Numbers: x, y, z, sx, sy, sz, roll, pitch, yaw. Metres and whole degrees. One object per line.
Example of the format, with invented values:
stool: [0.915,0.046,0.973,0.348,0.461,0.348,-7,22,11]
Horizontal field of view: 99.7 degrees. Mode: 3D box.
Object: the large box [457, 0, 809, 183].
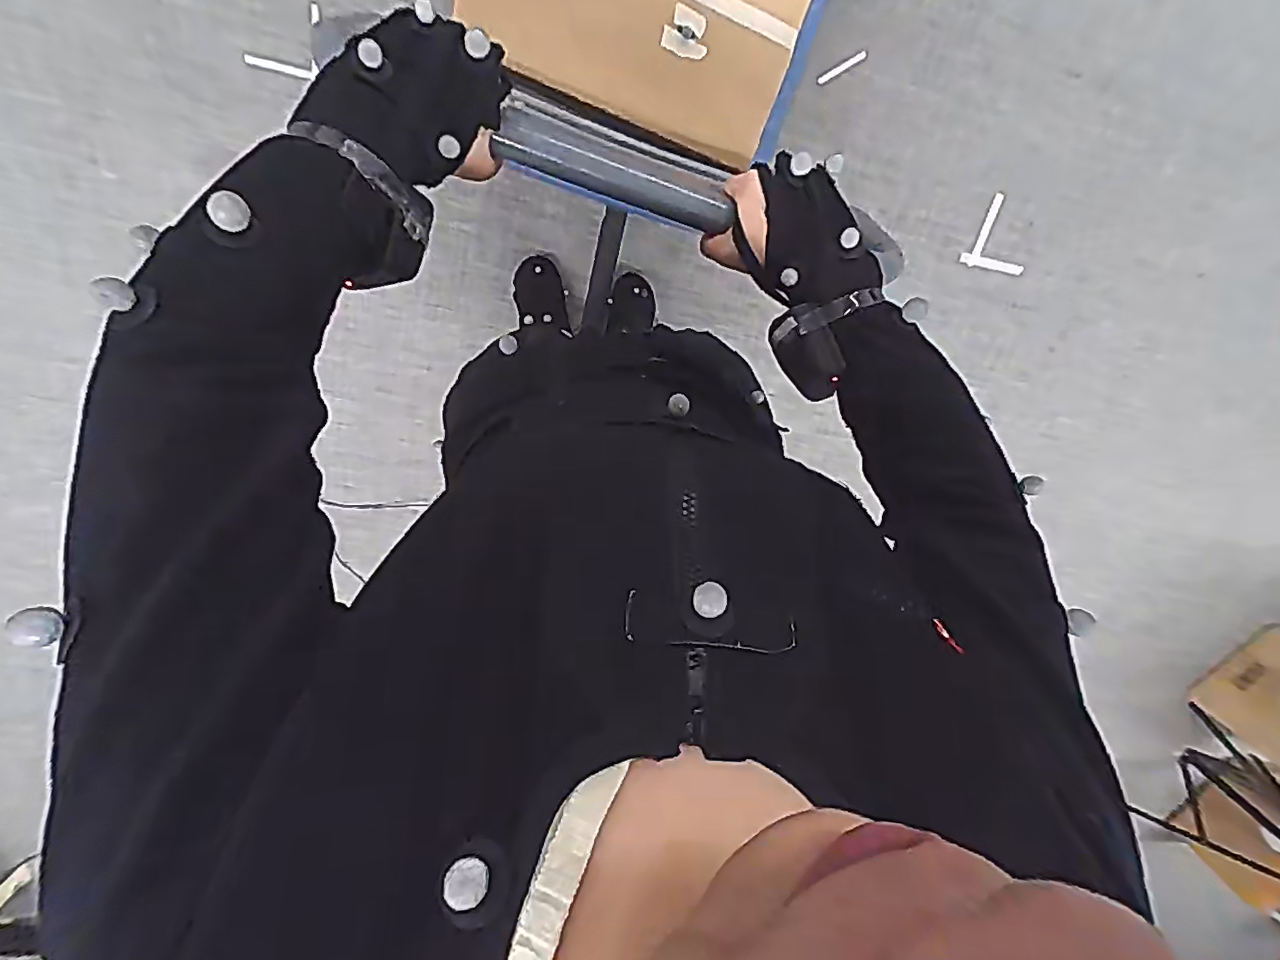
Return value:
large box: [-0.012,-0.670,0.775,0.408,0.320,0.320,15,113,-15]
